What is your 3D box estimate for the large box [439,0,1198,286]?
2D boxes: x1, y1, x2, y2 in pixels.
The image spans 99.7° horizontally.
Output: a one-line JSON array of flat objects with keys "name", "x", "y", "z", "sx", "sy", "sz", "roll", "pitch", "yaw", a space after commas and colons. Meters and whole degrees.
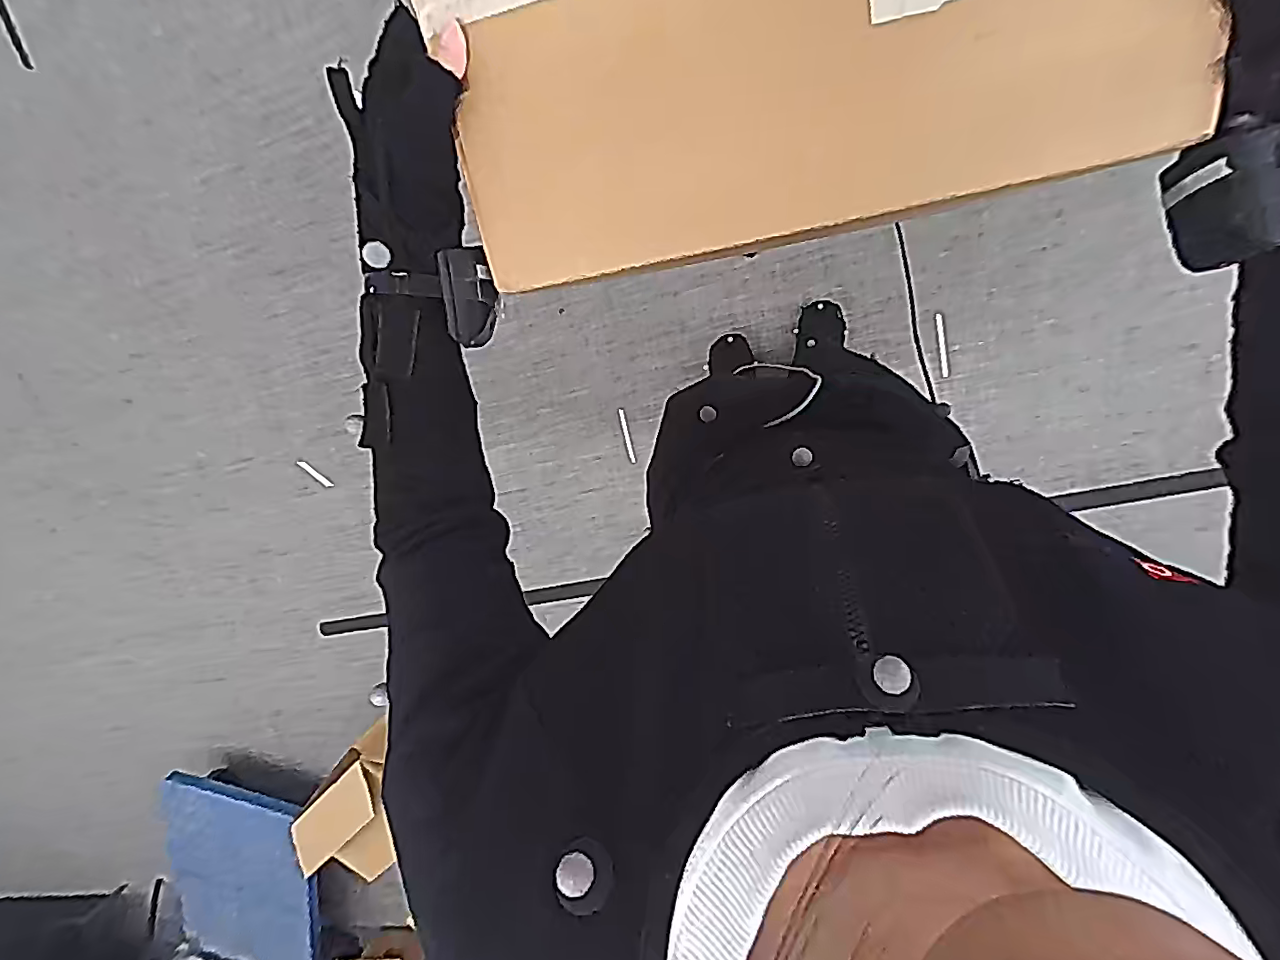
[{"name": "large box", "x": 0.092, "y": -0.356, "z": 0.422, "sx": 0.408, "sy": 0.320, "sz": 0.320, "roll": -8, "pitch": 110, "yaw": 11}]
